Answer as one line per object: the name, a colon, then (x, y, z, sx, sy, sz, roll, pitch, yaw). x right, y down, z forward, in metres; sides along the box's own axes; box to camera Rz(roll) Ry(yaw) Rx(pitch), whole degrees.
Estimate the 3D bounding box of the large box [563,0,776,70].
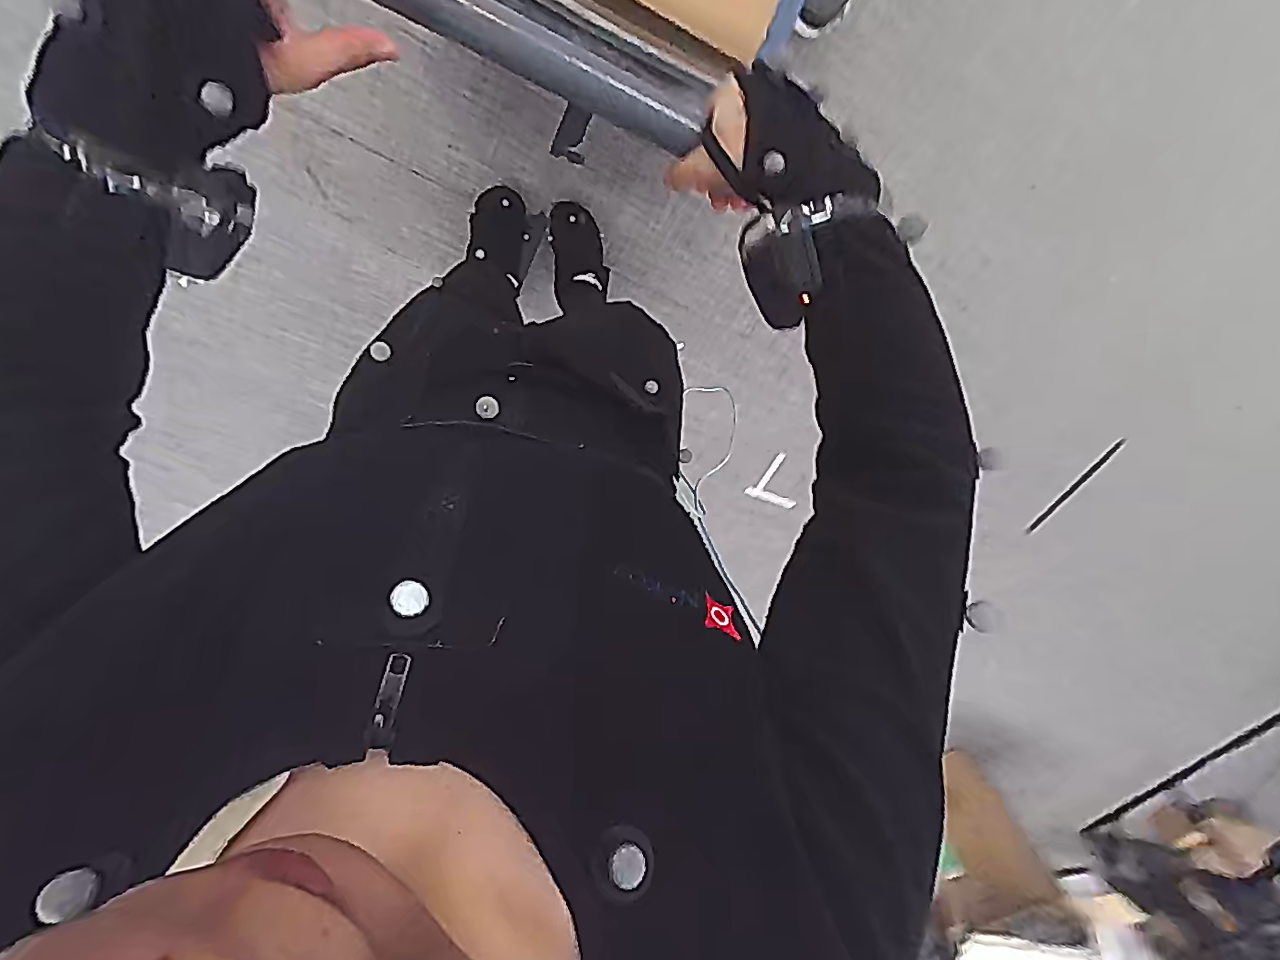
large box: (-0.011, -0.762, 0.641, 0.408, 0.320, 0.320, 15, 121, -19)
